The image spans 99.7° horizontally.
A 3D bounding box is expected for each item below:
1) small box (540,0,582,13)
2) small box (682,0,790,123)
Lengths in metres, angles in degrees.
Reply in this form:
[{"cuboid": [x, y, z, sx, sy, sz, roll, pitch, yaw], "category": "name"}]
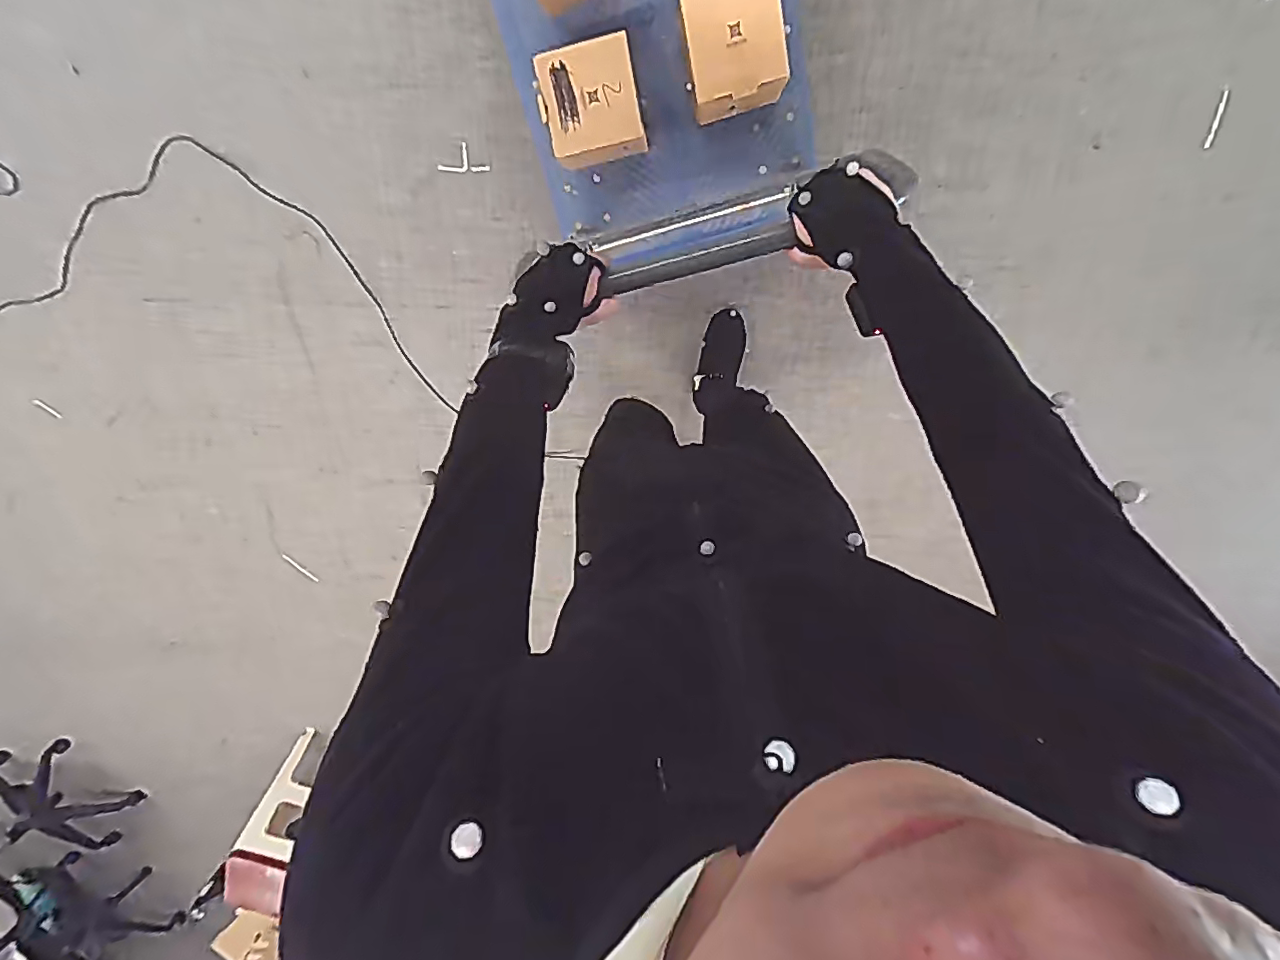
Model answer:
[{"cuboid": [-0.139, -0.985, 0.963, 0.168, 0.176, 0.179, -20, 110, 11], "category": "small box"}, {"cuboid": [0.174, -0.806, 1.015, 0.168, 0.176, 0.179, -12, 112, 10], "category": "small box"}]
